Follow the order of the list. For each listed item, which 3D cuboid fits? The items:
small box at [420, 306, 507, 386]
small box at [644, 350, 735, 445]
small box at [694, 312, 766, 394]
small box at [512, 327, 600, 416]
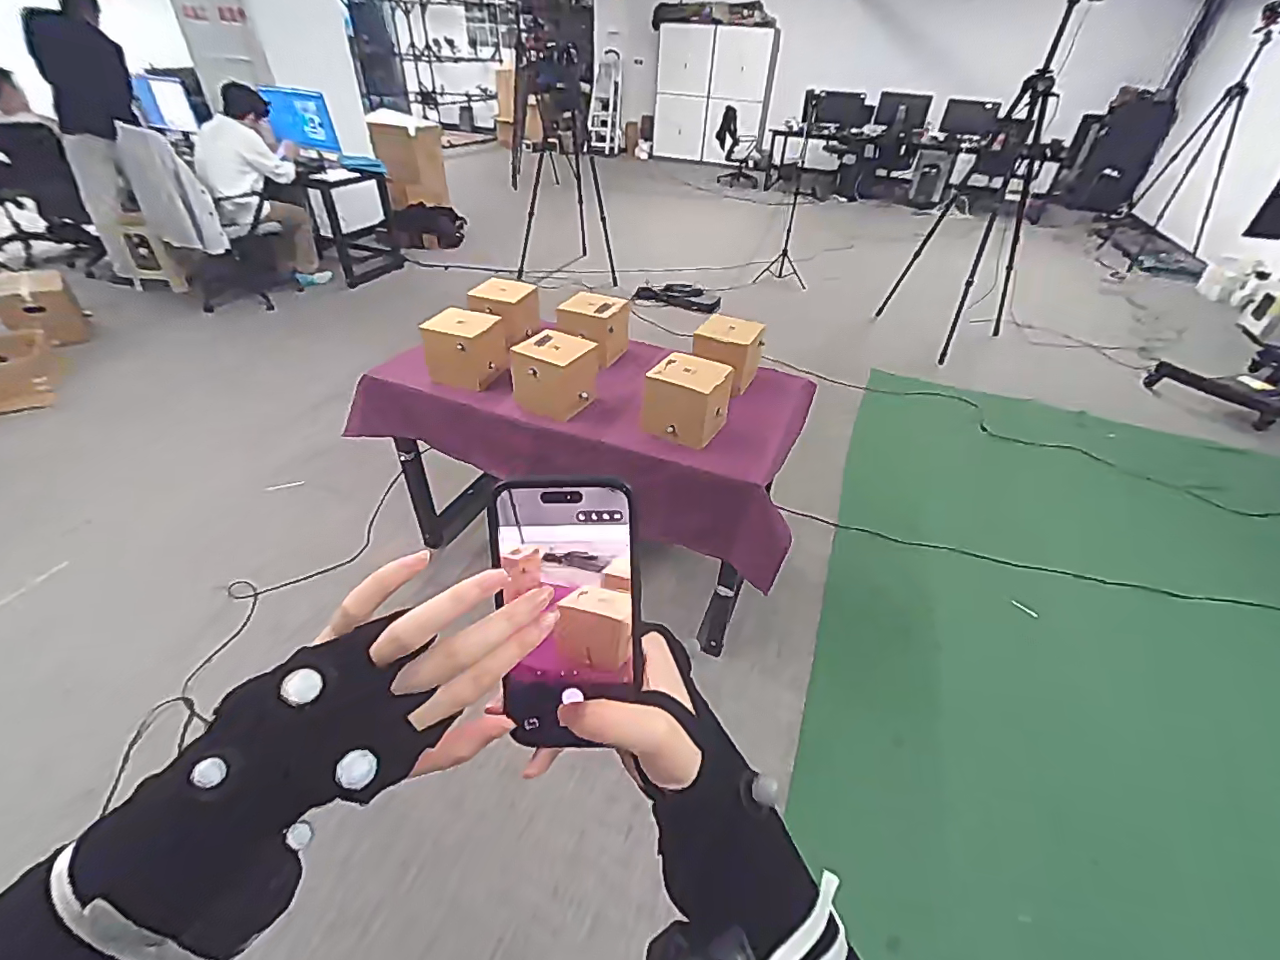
[{"bbox_3d":[-0.510,-0.392,1.587,0.179,0.176,0.168,14,39,11],"label":"small box"},{"bbox_3d":[0.125,-0.213,1.409,0.179,0.176,0.168,22,42,21],"label":"small box"},{"bbox_3d":[0.263,-0.384,1.633,0.168,0.176,0.179,19,42,19],"label":"small box"},{"bbox_3d":[-0.228,-0.297,1.488,0.179,0.176,0.168,22,42,20],"label":"small box"}]
